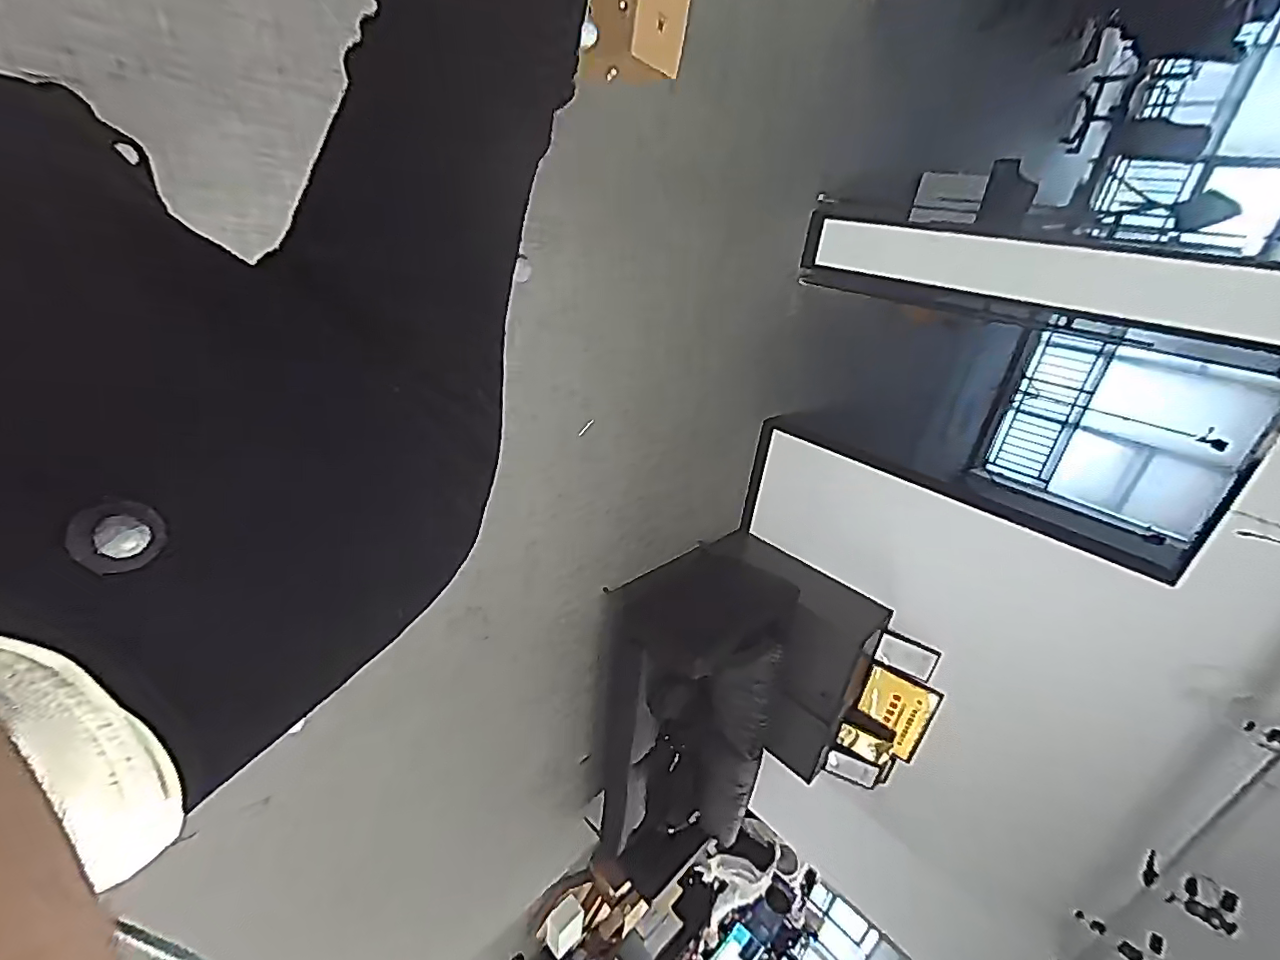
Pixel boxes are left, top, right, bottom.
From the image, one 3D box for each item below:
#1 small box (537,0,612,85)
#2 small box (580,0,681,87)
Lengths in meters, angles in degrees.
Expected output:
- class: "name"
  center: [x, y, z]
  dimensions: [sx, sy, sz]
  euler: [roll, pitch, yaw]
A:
- class: "small box"
  center: [-0.143, -1.165, 1.418]
  dimensions: [0.179, 0.176, 0.168]
  euler: [-12, 121, -46]
- class: "small box"
  center: [-0.028, -1.096, 1.324]
  dimensions: [0.168, 0.176, 0.179]
  euler: [-11, 121, -46]
